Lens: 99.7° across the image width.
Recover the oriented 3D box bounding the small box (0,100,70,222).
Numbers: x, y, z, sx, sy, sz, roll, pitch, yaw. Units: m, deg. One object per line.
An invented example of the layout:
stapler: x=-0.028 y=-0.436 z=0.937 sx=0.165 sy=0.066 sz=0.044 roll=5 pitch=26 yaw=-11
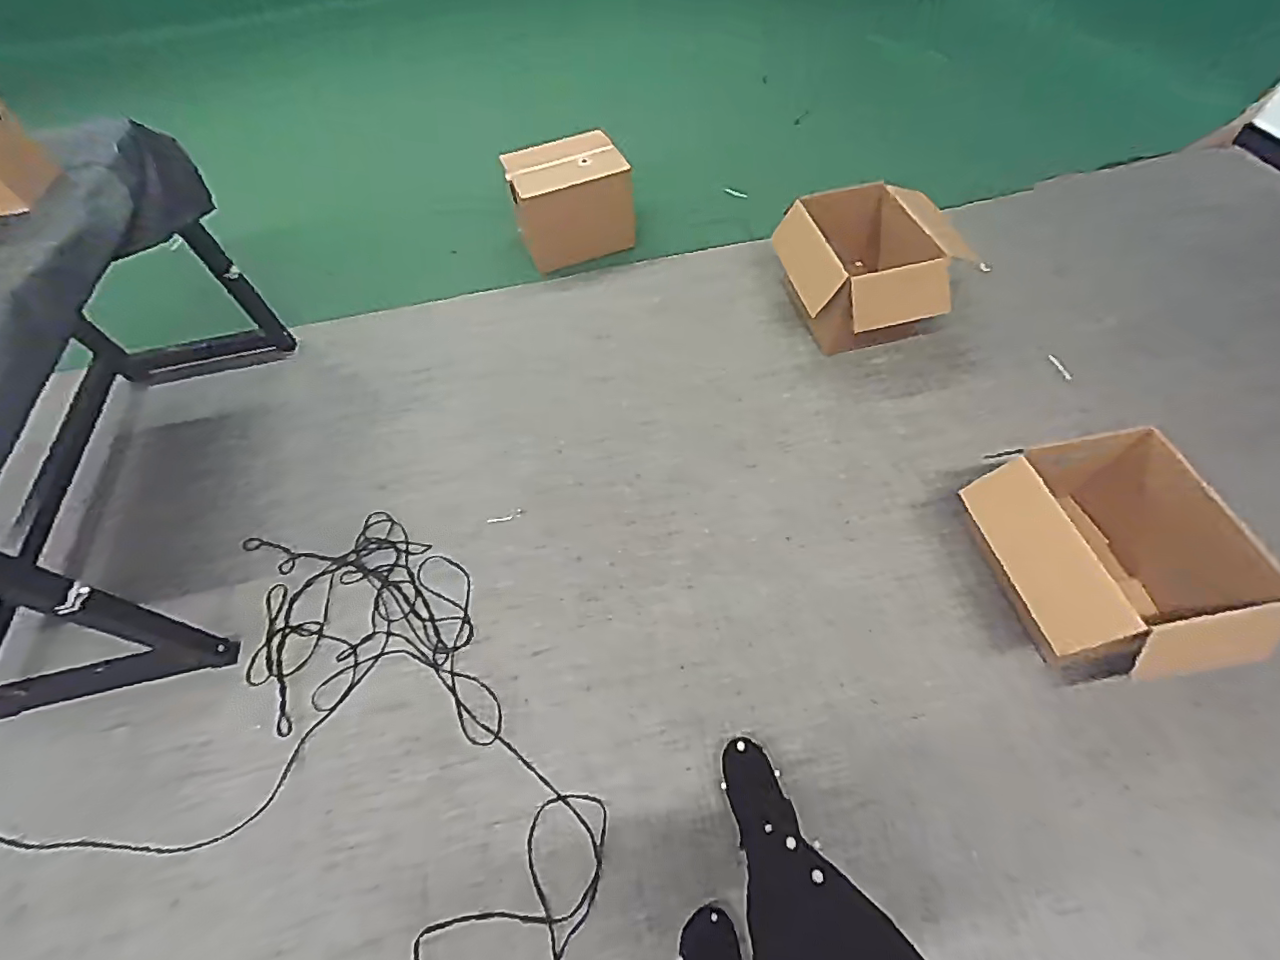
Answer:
small box: x=-1.368 y=-0.658 z=1.126 sx=0.168 sy=0.176 sz=0.179 roll=-10 pitch=57 yaw=-2
